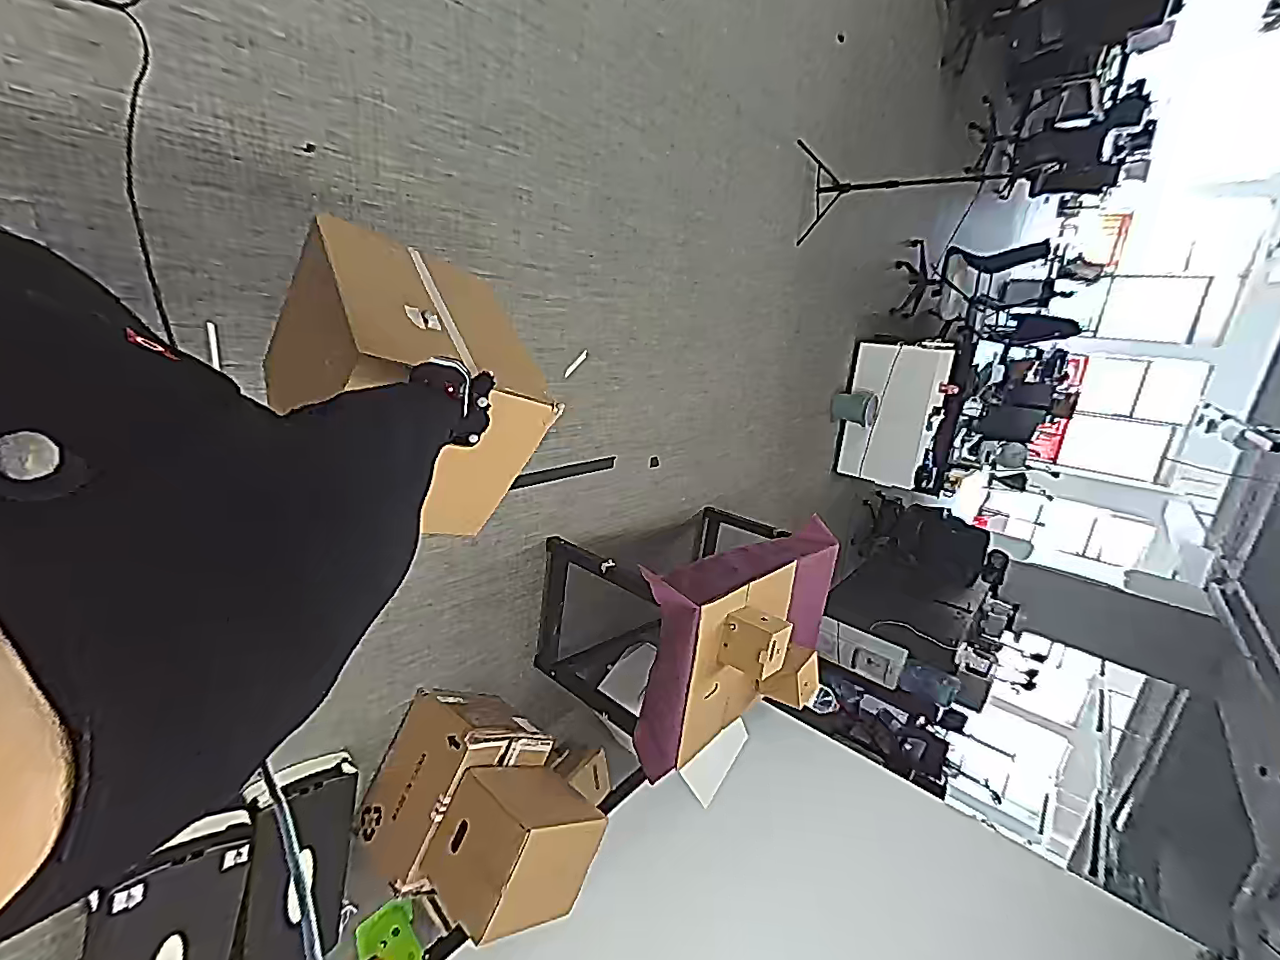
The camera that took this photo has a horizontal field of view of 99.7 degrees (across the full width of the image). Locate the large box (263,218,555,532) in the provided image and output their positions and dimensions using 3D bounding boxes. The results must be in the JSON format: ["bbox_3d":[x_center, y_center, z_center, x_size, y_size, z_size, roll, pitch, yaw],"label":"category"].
[{"bbox_3d":[-0.419,-0.163,0.943,0.320,0.408,0.320,9,130,-47],"label":"large box"}]
